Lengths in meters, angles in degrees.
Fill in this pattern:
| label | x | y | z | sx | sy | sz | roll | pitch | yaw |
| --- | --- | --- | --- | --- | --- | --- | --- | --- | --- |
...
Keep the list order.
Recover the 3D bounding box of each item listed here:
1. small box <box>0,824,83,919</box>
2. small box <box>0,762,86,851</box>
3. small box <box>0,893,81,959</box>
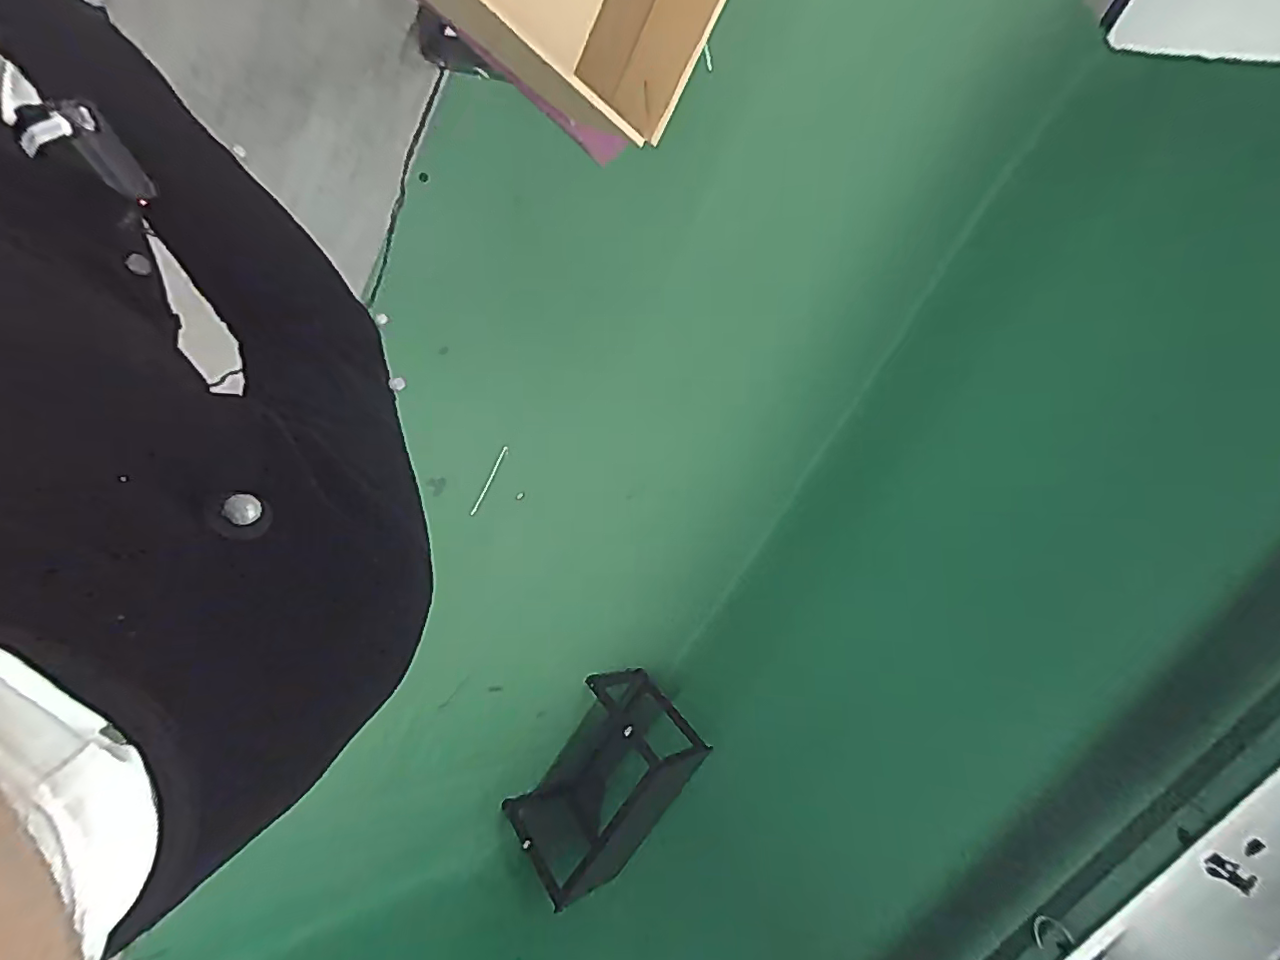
| label | x | y | z | sx | sy | sz | roll | pitch | yaw |
| --- | --- | --- | --- | --- | --- | --- | --- | --- | --- |
| small box | -1.331 | 0.877 | 1.143 | 0.168 | 0.176 | 0.179 | -24 | 136 | -32 |
| small box | -1.431 | 0.798 | 1.244 | 0.179 | 0.176 | 0.168 | -25 | 137 | -30 |
| small box | -1.232 | 0.959 | 1.042 | 0.179 | 0.176 | 0.168 | -27 | 138 | -31 |
